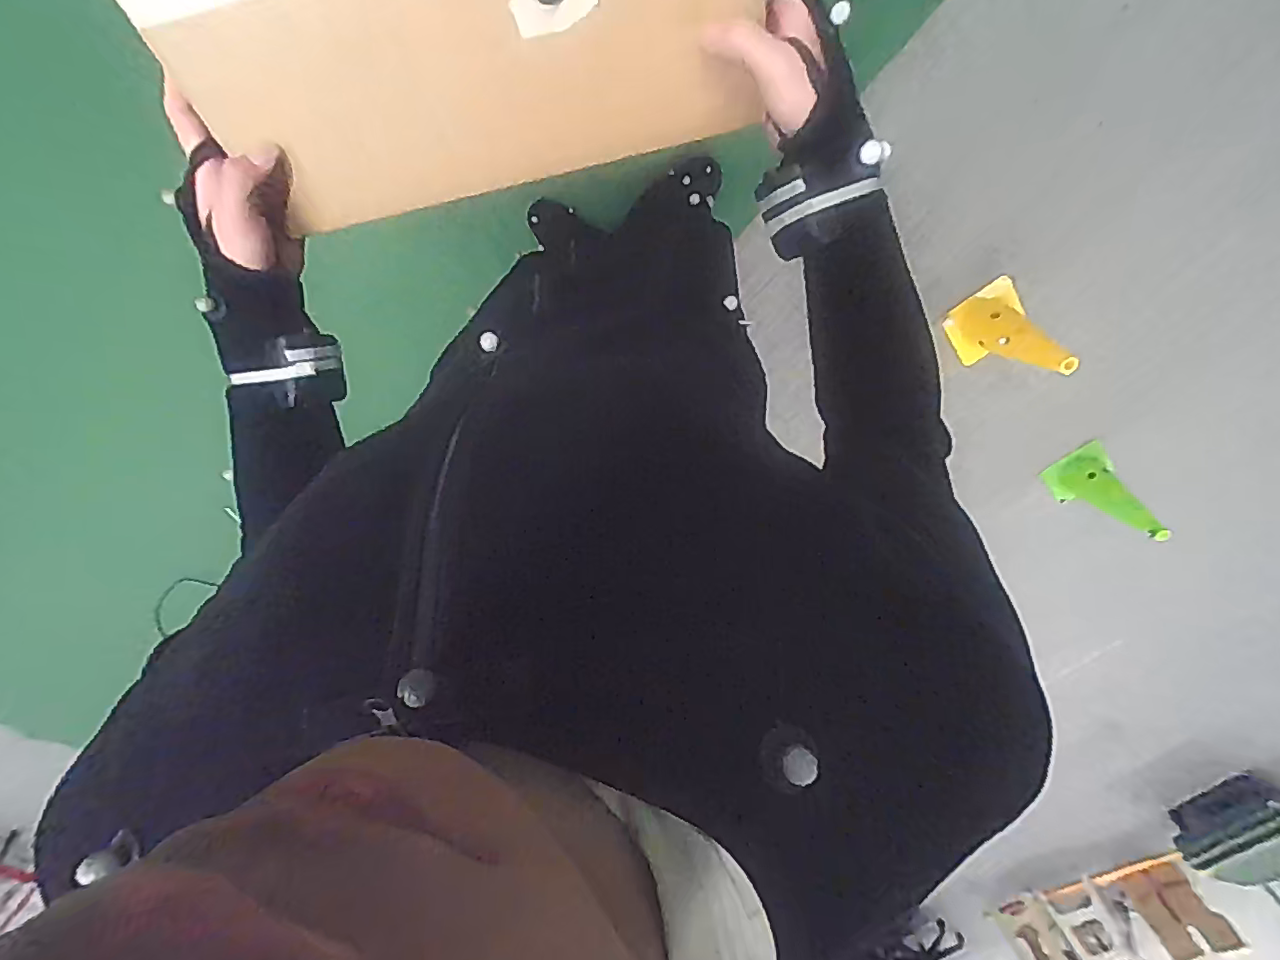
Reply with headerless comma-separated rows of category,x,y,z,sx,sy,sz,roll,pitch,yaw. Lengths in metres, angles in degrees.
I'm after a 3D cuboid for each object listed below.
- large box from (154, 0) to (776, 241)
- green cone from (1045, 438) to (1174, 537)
large box,-0.130,-0.449,0.431,0.408,0.320,0.320,-10,139,6
green cone,1.552,0.059,1.743,0.200,0.368,0.202,-40,115,20
